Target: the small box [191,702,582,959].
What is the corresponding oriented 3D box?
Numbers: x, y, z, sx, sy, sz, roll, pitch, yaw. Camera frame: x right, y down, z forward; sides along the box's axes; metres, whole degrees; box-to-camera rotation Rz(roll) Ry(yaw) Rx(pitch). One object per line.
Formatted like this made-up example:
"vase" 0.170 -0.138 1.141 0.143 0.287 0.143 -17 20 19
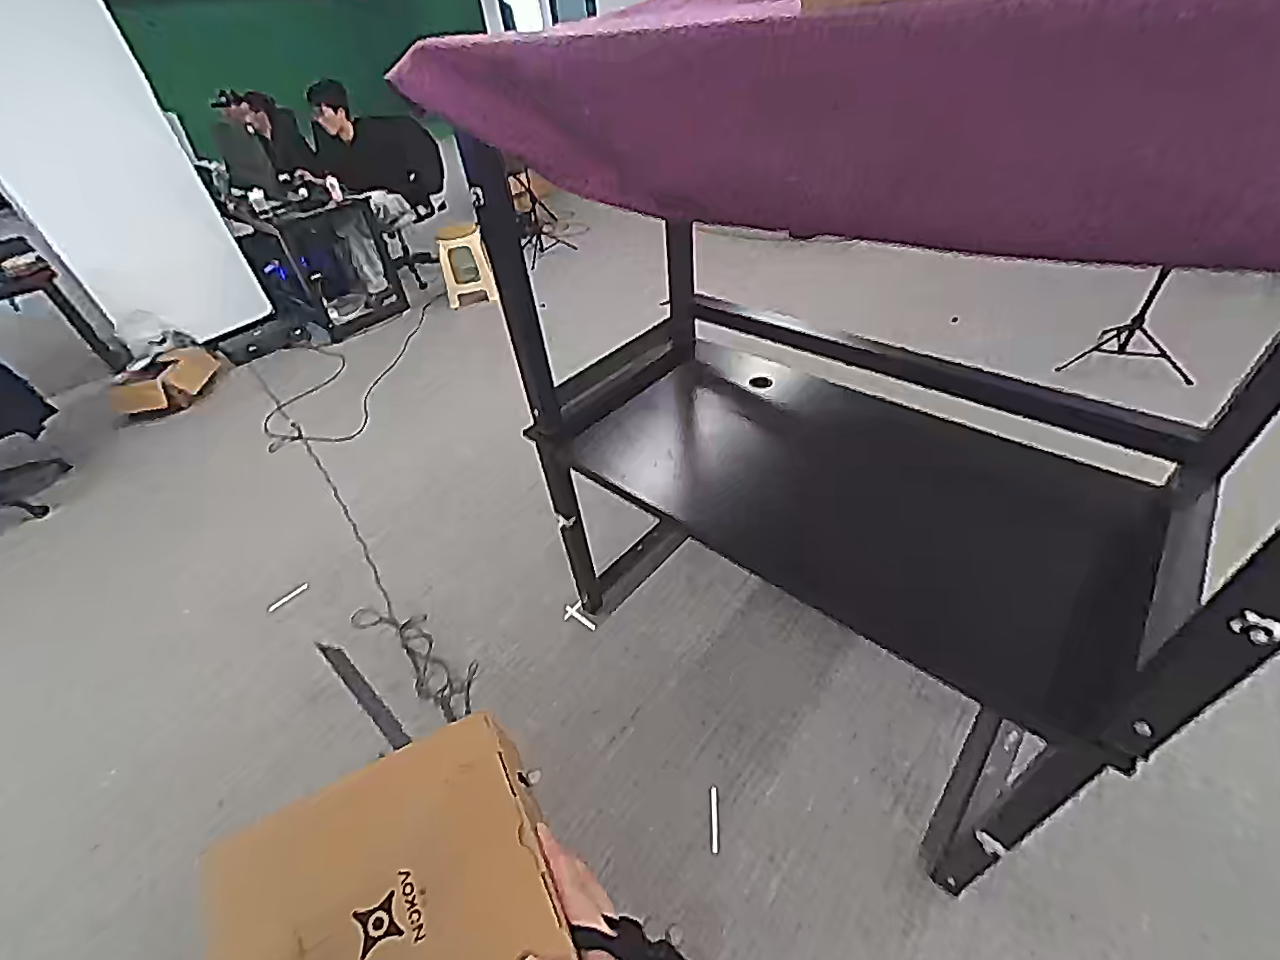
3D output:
"small box" -0.149 0.279 0.364 0.179 0.176 0.168 -22 61 -18
